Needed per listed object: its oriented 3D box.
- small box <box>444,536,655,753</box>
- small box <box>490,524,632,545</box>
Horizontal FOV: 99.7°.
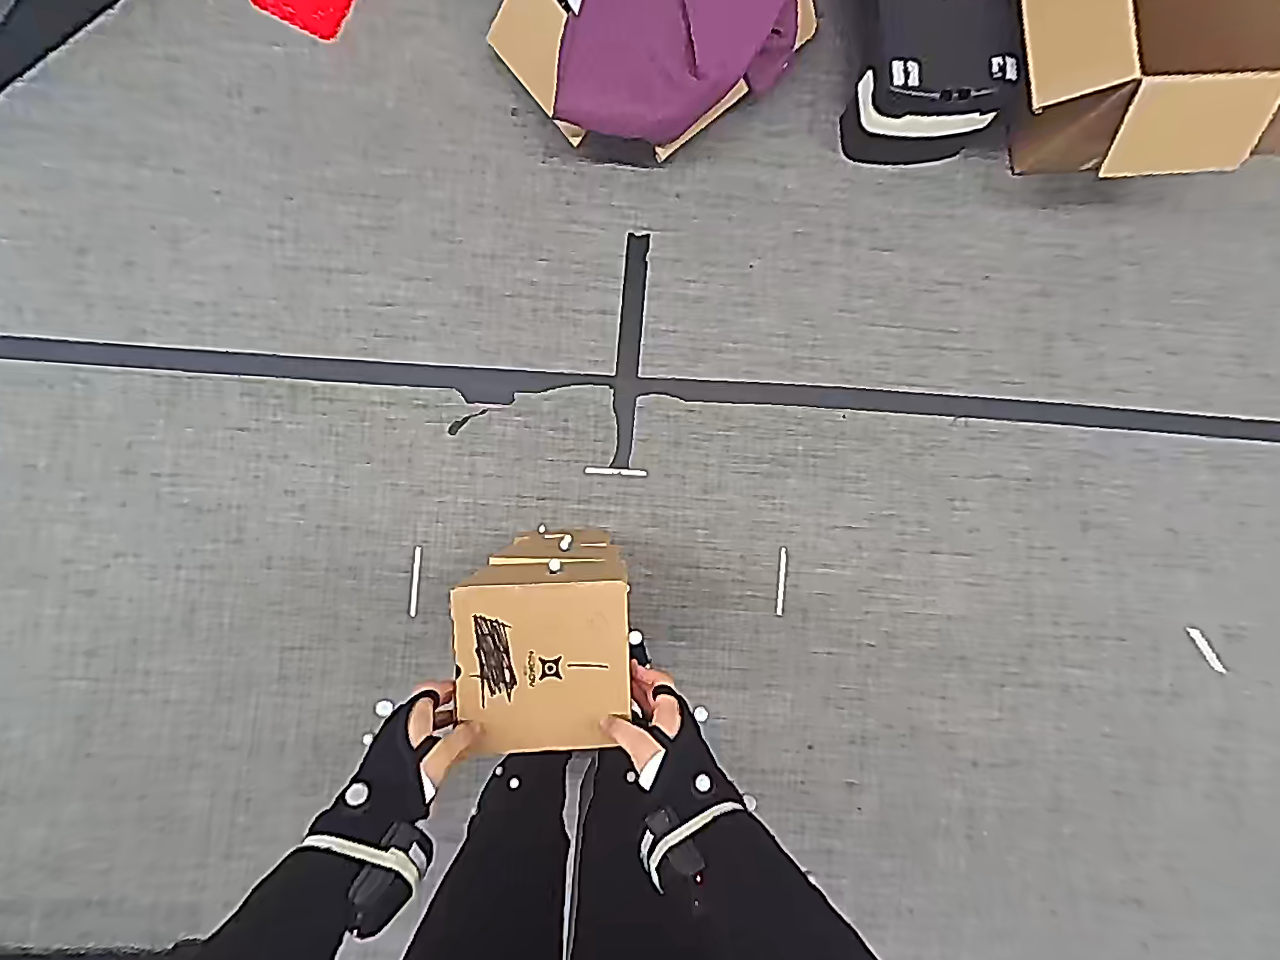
[{"bbox_3d":[-0.079,0.146,0.534,0.179,0.176,0.168,-2,89,-4],"label":"small box"},{"bbox_3d":[-0.098,0.148,0.697,0.168,0.176,0.179,1,89,-2],"label":"small box"}]
